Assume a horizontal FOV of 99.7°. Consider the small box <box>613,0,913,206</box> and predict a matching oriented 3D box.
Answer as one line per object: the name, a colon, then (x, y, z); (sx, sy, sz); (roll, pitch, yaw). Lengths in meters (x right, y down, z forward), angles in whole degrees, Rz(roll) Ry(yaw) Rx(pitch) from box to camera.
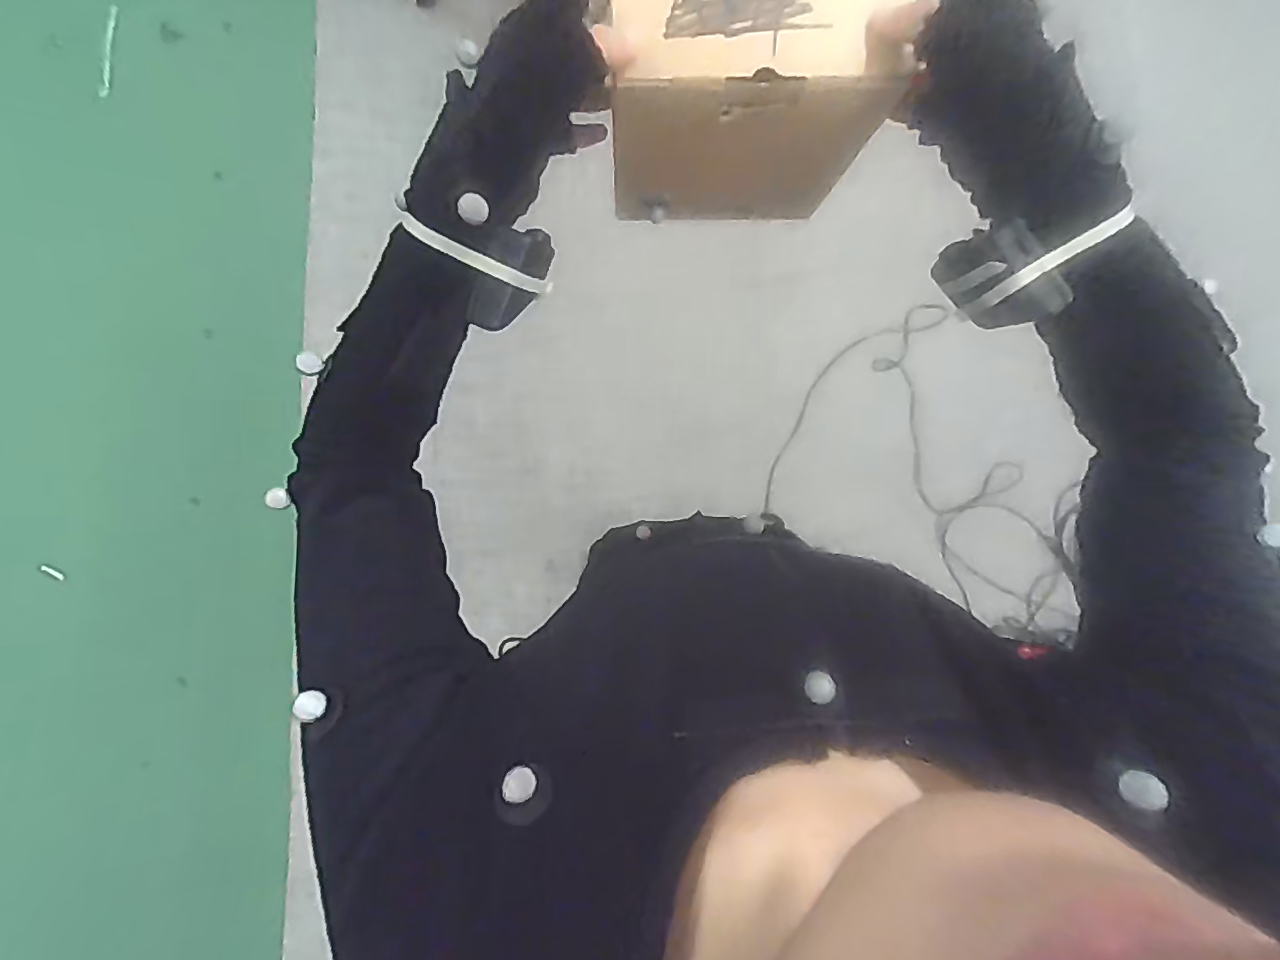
small box: (0.064, -0.310, 0.372); (0.168, 0.176, 0.179); (-1, 91, -2)
